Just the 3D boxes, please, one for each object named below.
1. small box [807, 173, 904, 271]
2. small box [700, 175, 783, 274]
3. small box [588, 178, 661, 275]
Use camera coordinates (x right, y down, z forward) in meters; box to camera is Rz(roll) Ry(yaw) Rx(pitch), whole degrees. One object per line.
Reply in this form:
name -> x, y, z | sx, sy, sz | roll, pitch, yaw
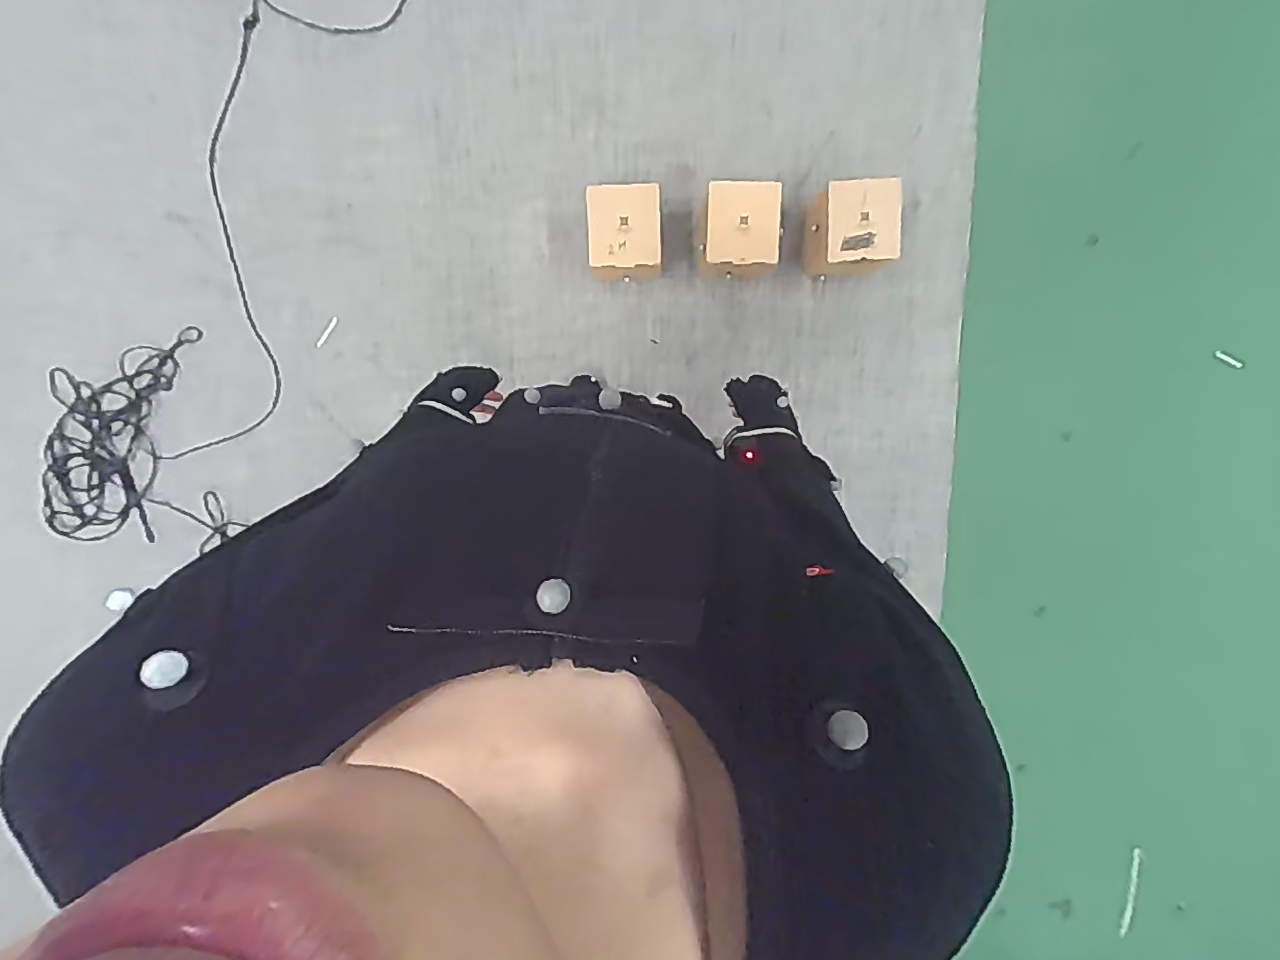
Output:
small box -> 0.503, -0.602, 1.284 | 0.168, 0.176, 0.179 | -2, 100, 1
small box -> 0.234, -0.601, 1.289 | 0.168, 0.176, 0.179 | 1, 101, 0
small box -> -0.034, -0.598, 1.291 | 0.168, 0.176, 0.179 | -1, 101, 2
